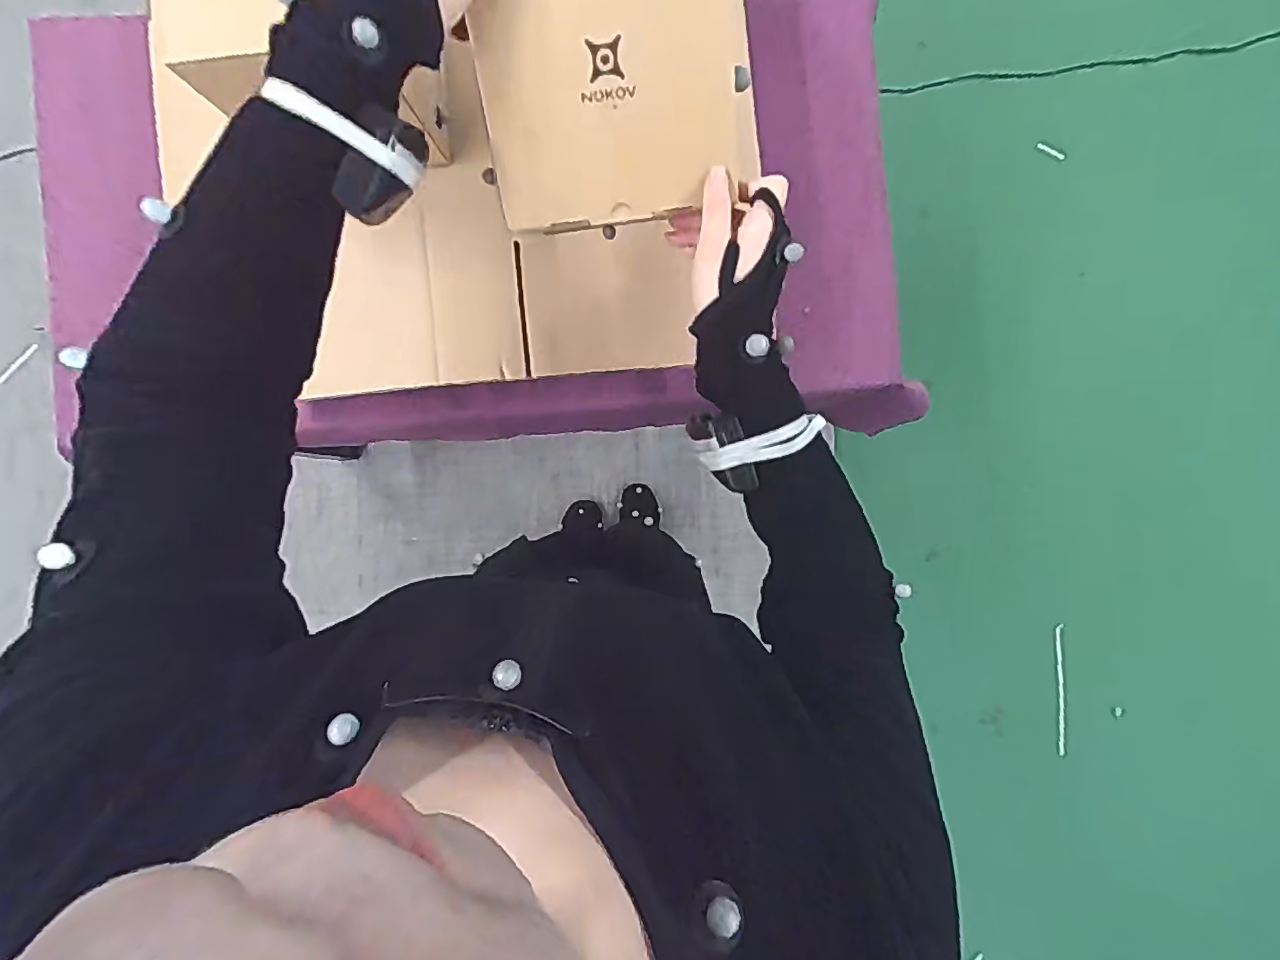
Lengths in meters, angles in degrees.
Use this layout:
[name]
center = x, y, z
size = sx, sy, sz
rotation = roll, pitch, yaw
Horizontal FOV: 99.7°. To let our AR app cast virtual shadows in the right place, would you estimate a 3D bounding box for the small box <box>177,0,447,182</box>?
[small box]
center = -0.304, -0.425, 0.535
size = 0.179, 0.176, 0.168
rotation = -4, 89, 4
